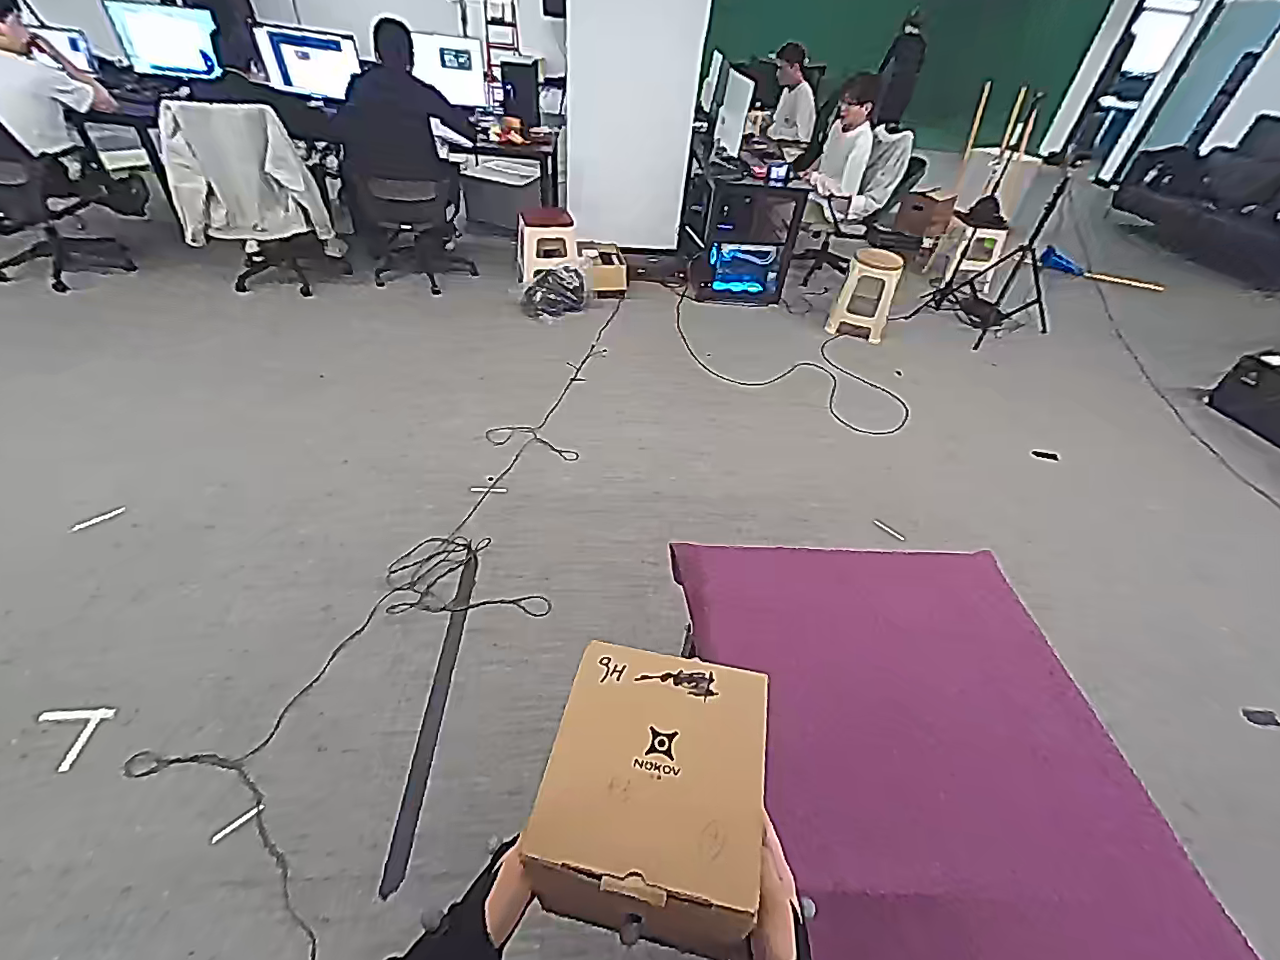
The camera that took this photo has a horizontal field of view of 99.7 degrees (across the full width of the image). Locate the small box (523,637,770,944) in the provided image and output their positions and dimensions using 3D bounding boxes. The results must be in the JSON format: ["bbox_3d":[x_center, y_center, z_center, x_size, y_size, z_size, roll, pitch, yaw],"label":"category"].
[{"bbox_3d":[0.015,0.271,0.475,0.168,0.176,0.179,9,43,8],"label":"small box"}]
